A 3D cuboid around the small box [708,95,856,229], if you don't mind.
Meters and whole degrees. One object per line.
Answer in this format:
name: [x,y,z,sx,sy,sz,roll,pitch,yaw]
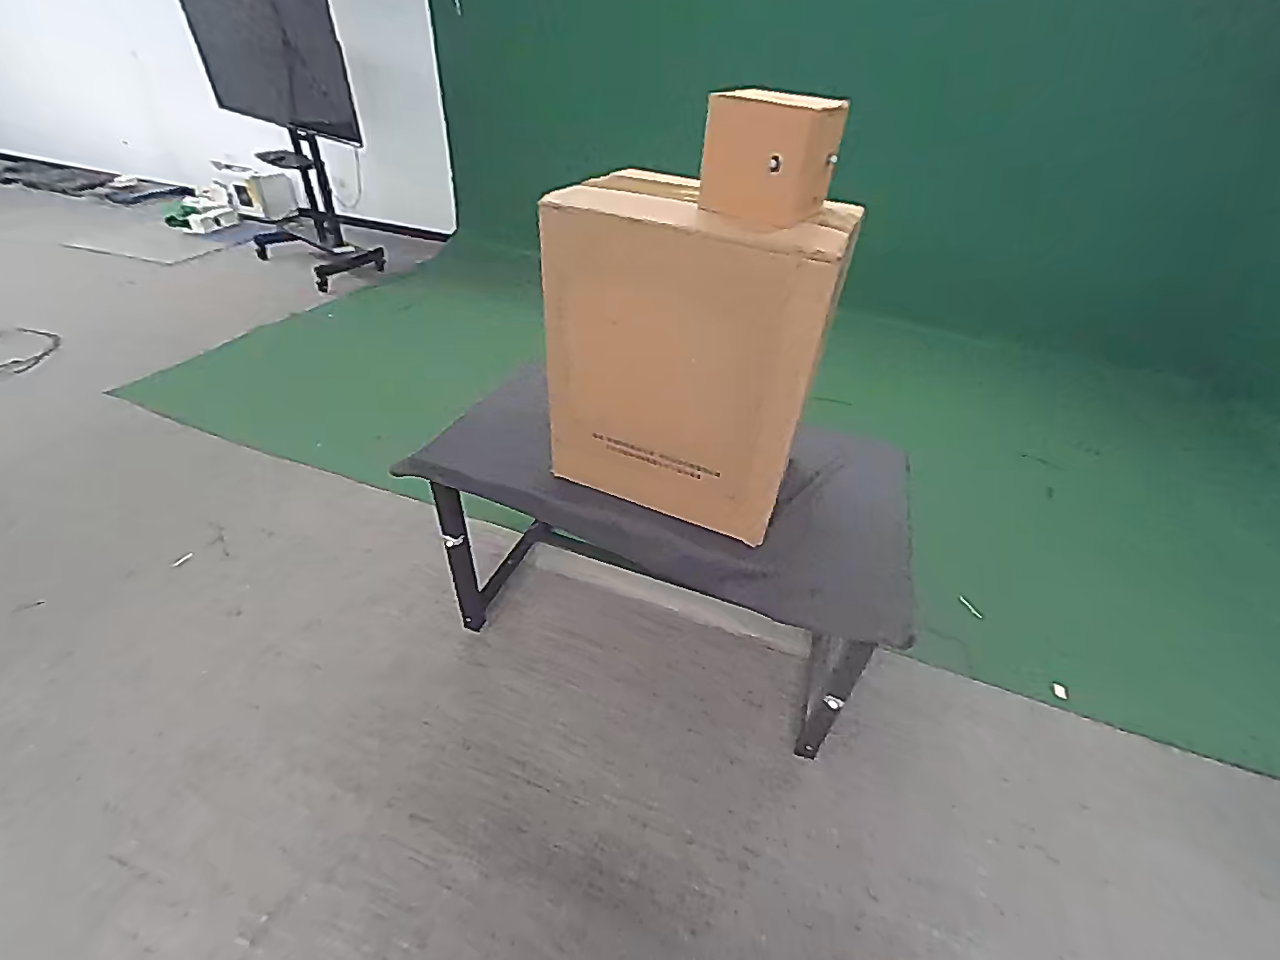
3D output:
small box: [0.235,-0.541,0.921,0.179,0.176,0.168,26,45,25]
